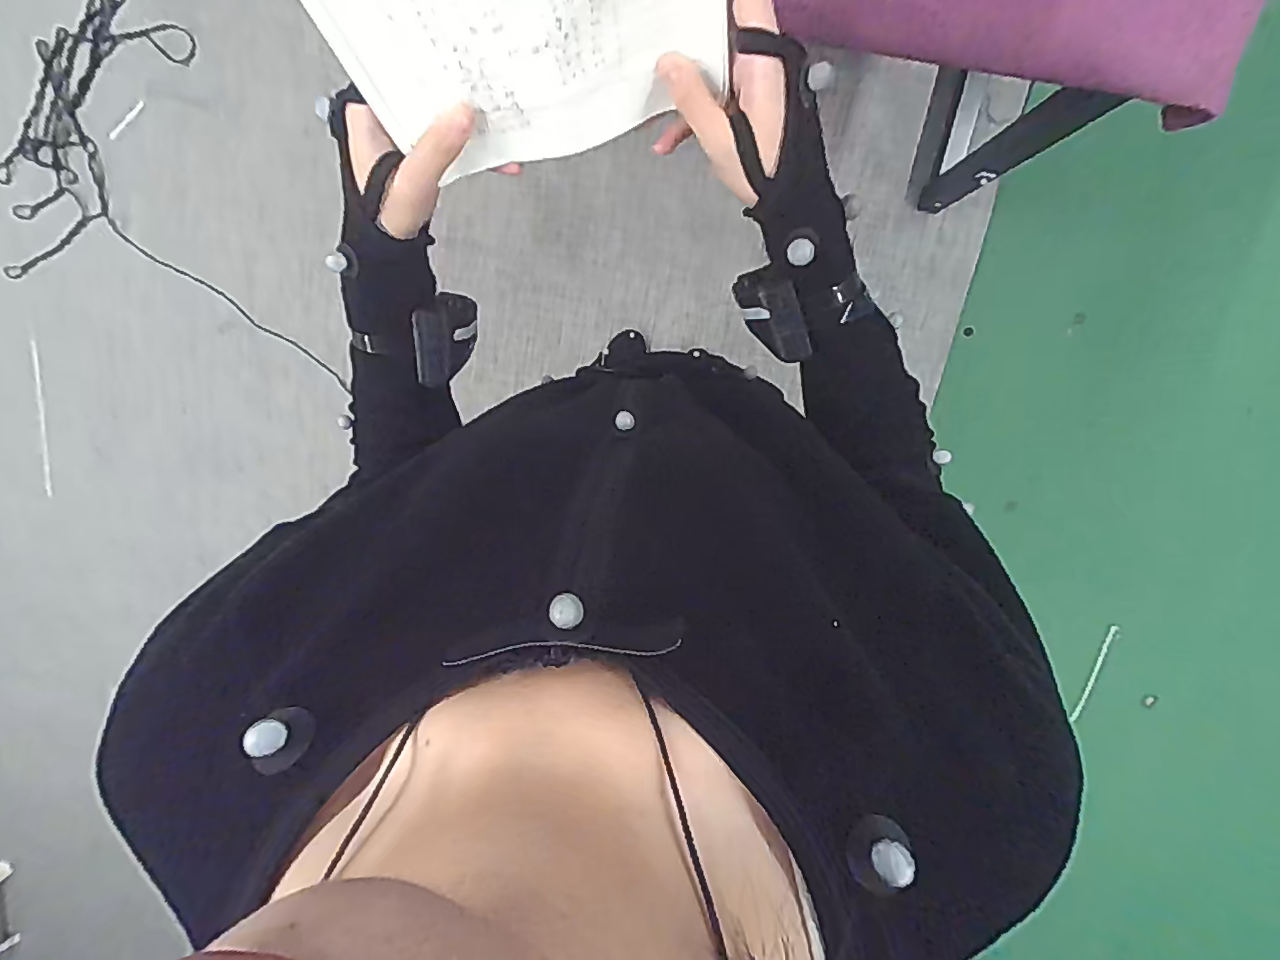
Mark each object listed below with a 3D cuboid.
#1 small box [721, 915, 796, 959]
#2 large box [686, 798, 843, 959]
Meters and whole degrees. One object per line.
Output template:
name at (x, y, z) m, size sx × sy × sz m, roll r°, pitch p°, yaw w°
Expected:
small box at (0.301, 1.240, 1.358) m, size 0.179 × 0.176 × 0.168 m, roll 1°, pitch 101°, yaw 5°
large box at (0.347, 1.187, 1.594) m, size 0.408 × 0.320 × 0.320 m, roll -3°, pitch 103°, yaw 4°
